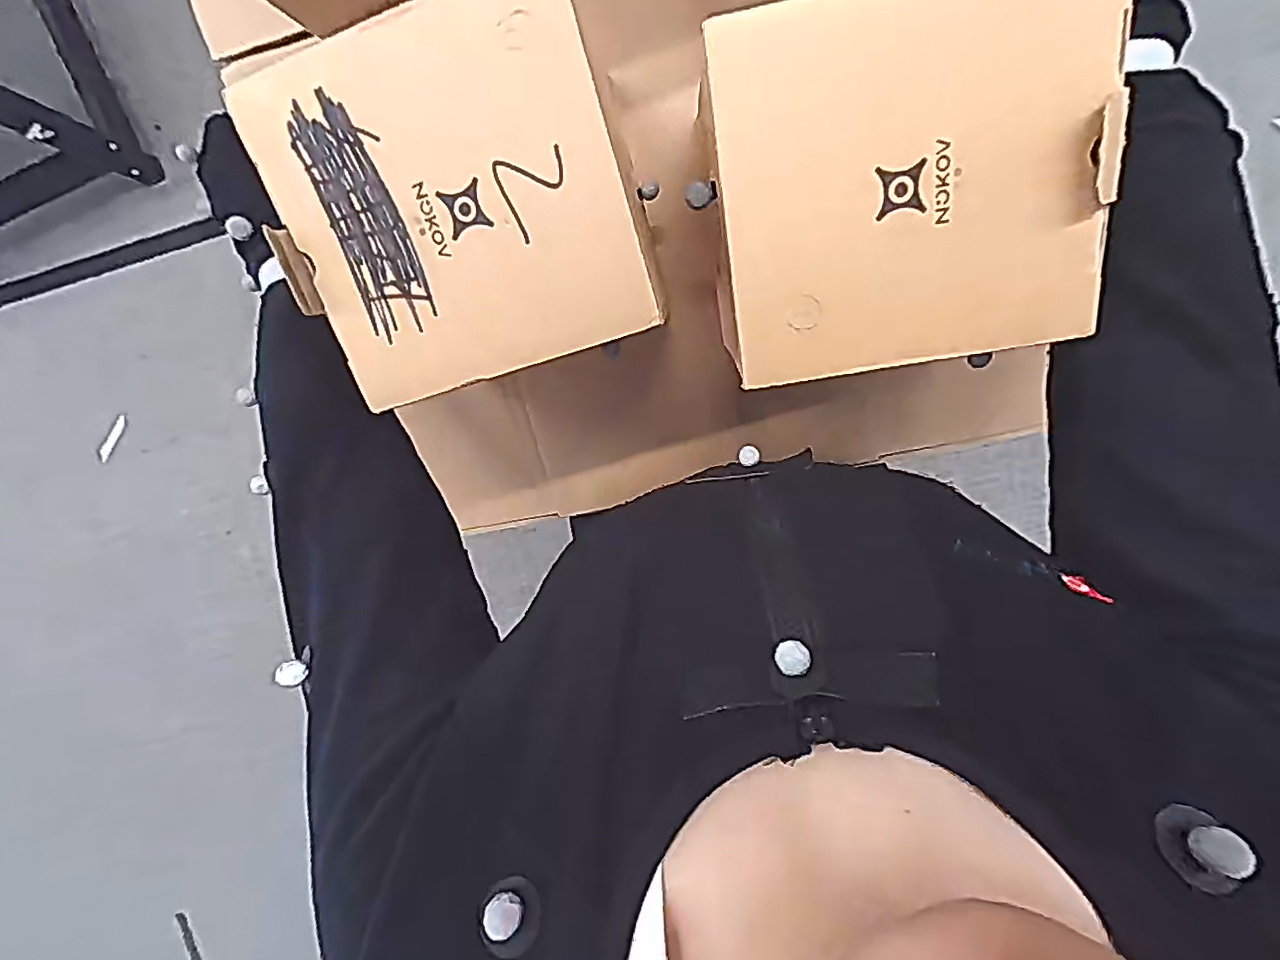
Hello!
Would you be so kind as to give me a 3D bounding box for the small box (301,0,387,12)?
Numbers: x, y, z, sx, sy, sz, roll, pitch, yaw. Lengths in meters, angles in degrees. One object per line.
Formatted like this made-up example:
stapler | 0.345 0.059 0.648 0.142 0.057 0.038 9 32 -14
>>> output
small box | -0.174 -0.389 0.276 0.168 0.176 0.179 -11 107 9
